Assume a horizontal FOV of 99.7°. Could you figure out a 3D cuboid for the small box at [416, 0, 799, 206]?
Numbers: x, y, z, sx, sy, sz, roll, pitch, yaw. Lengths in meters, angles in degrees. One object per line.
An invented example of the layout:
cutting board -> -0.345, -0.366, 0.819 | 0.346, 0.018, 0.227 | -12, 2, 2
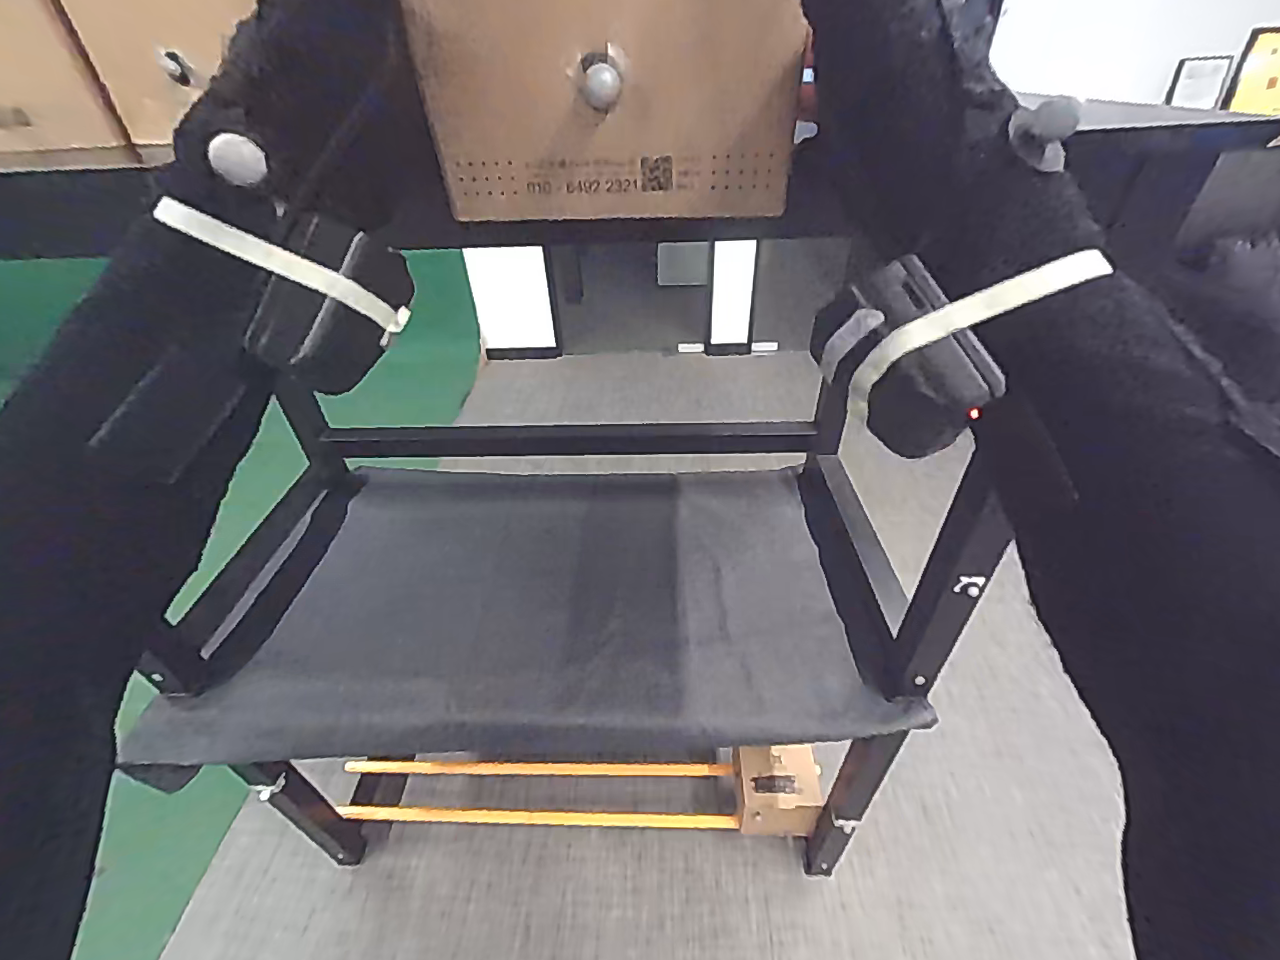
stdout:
small box -> -0.012, -0.255, 0.274 | 0.168, 0.176, 0.179 | 1, 44, 5
